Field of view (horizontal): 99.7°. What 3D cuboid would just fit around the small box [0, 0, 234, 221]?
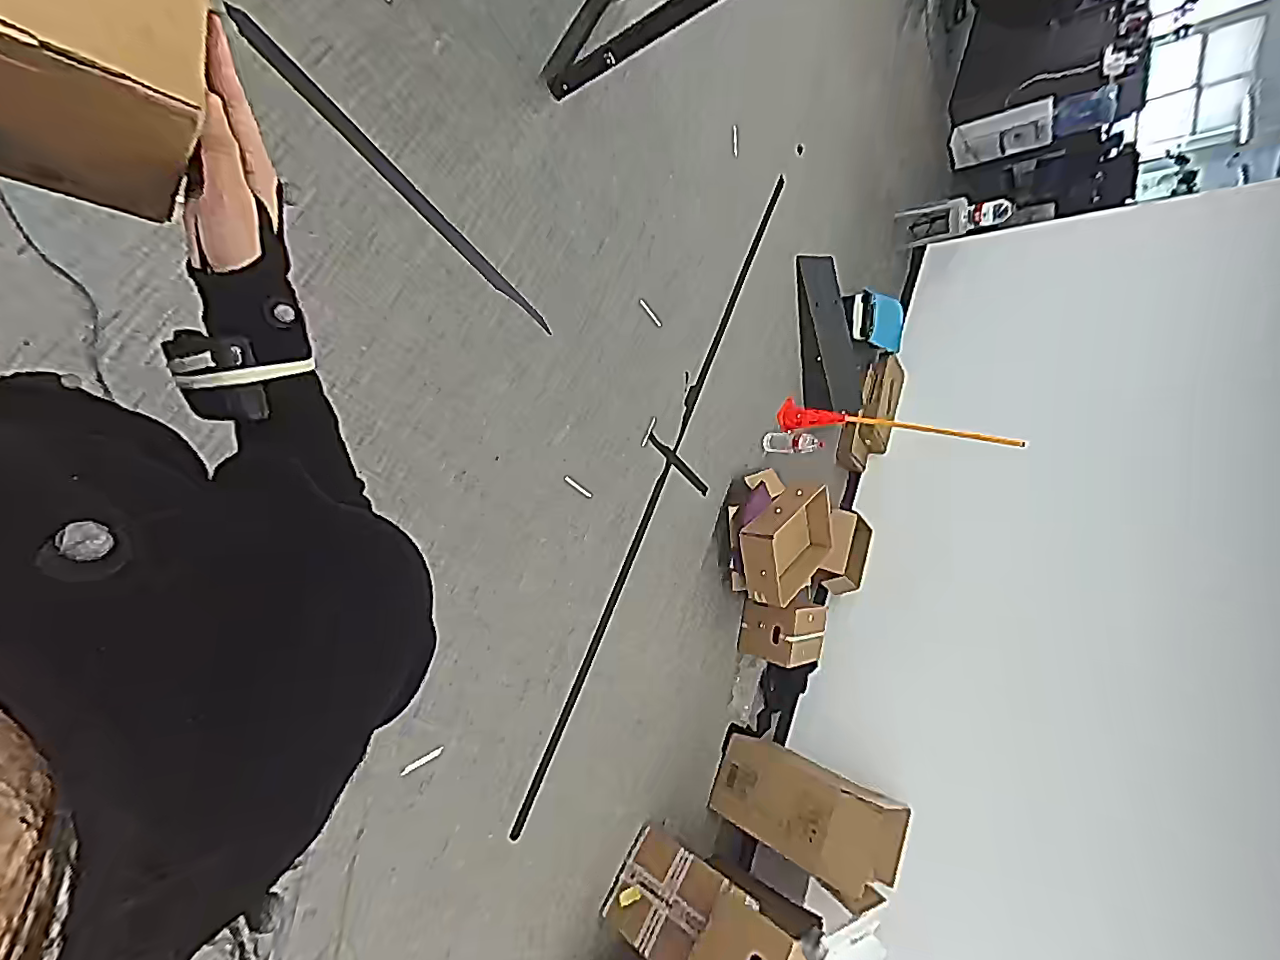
[{"bbox_3d":[-0.338,-0.281,0.294,0.168,0.176,0.179,5,85,-46],"label":"small box"}]
